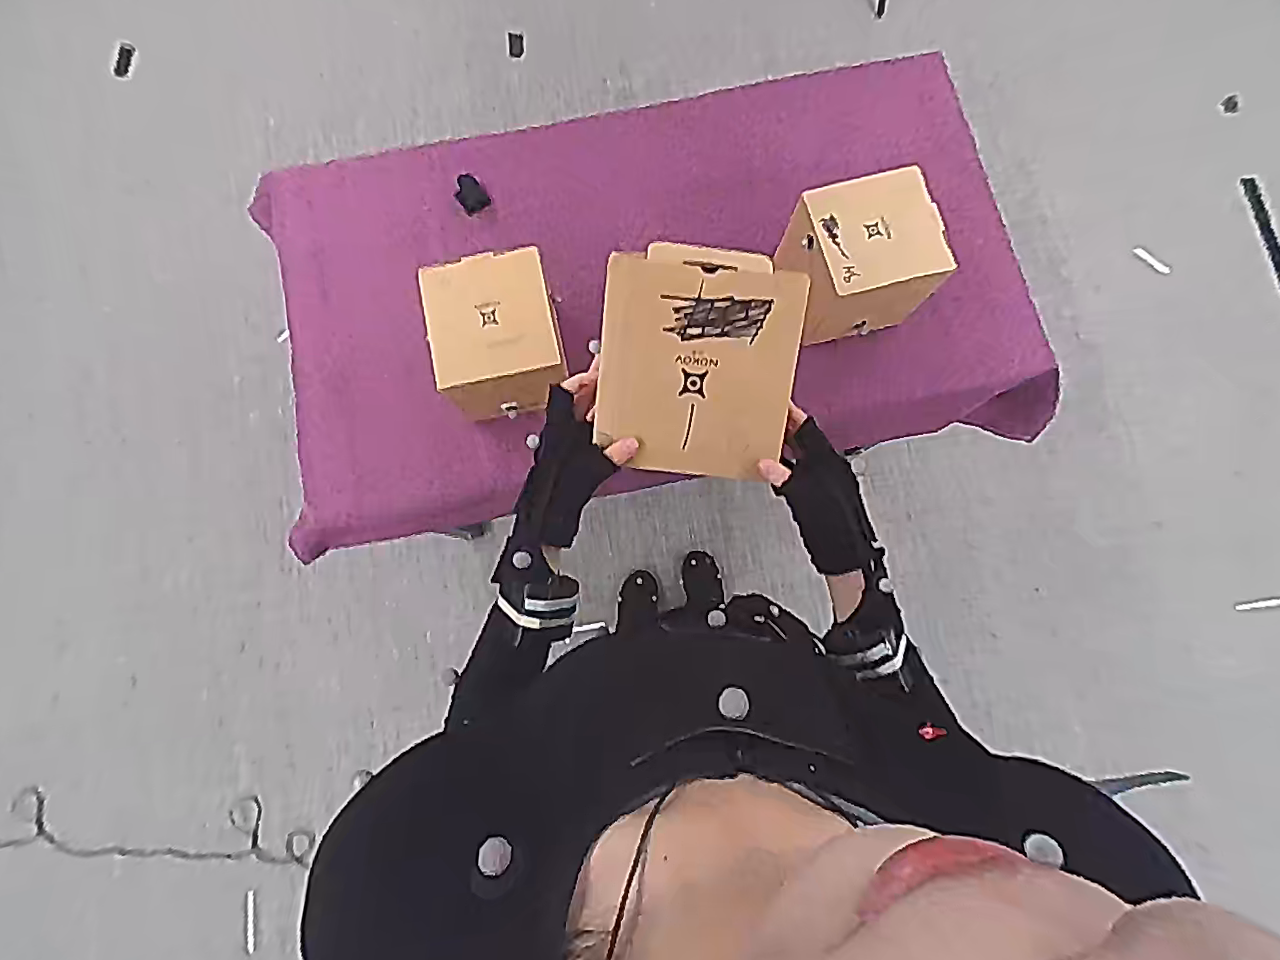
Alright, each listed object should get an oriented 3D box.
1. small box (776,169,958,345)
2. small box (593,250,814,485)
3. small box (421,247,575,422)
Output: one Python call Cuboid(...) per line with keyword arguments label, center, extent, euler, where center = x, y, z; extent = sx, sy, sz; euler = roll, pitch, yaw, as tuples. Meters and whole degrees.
Cuboid(label="small box", center=(0.330, -0.327, 0.821), extent=(0.179, 0.176, 0.168), euler=(-14, 80, -4))
Cuboid(label="small box", center=(0.050, -0.106, 0.527), extent=(0.168, 0.176, 0.179), euler=(7, 103, -1))
Cuboid(label="small box", center=(-0.197, -0.202, 0.789), extent=(0.168, 0.176, 0.179), euler=(-13, 81, -2))
